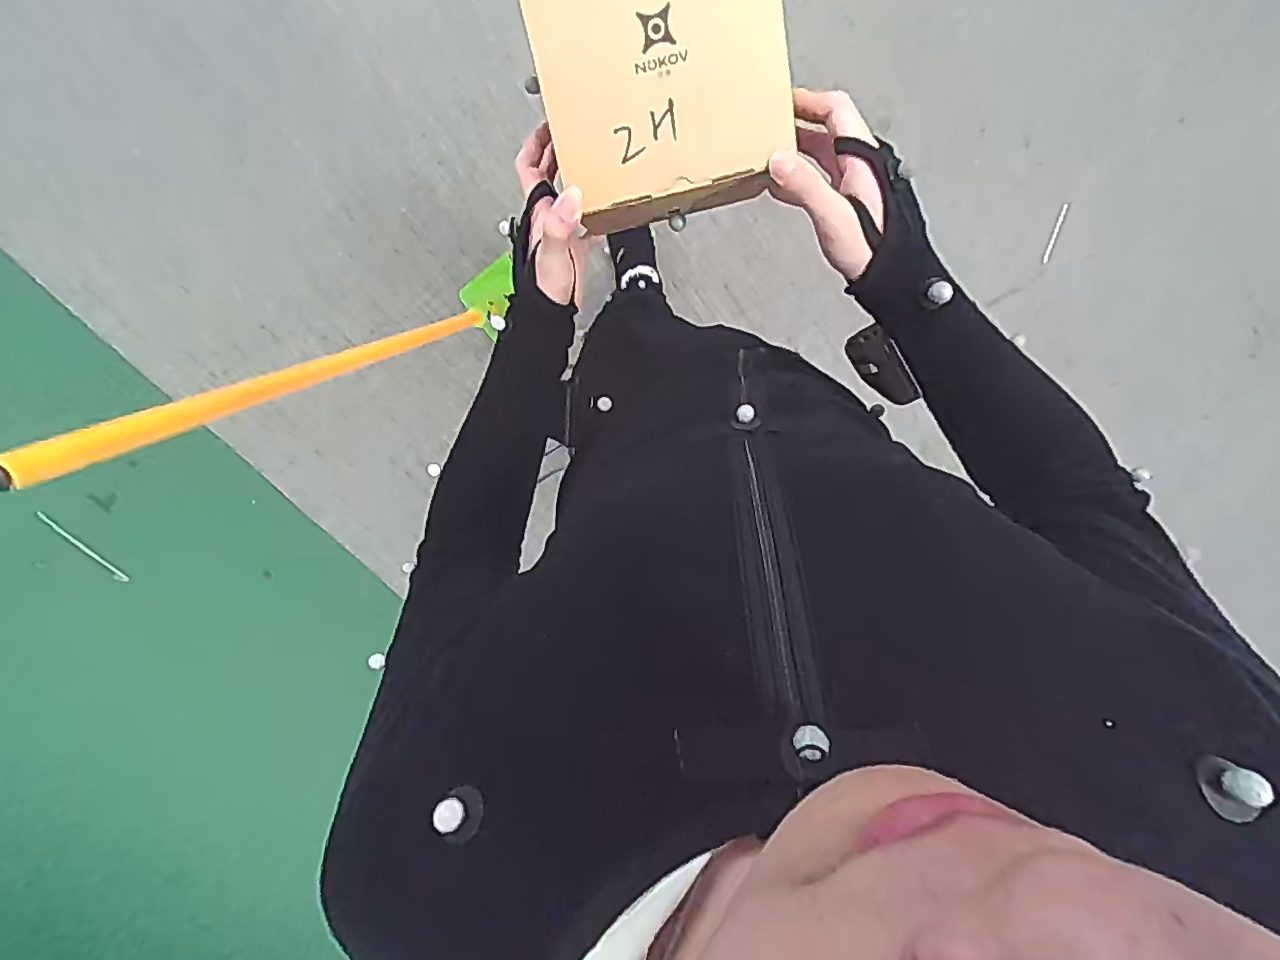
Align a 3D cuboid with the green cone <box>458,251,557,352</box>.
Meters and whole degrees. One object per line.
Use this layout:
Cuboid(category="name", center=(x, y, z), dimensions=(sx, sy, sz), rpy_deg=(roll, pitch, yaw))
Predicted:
Cuboid(category="green cone", center=(-0.346, -0.400, 1.276), dimensions=(0.200, 0.368, 0.202), rpy_deg=(-34, 111, 13))
